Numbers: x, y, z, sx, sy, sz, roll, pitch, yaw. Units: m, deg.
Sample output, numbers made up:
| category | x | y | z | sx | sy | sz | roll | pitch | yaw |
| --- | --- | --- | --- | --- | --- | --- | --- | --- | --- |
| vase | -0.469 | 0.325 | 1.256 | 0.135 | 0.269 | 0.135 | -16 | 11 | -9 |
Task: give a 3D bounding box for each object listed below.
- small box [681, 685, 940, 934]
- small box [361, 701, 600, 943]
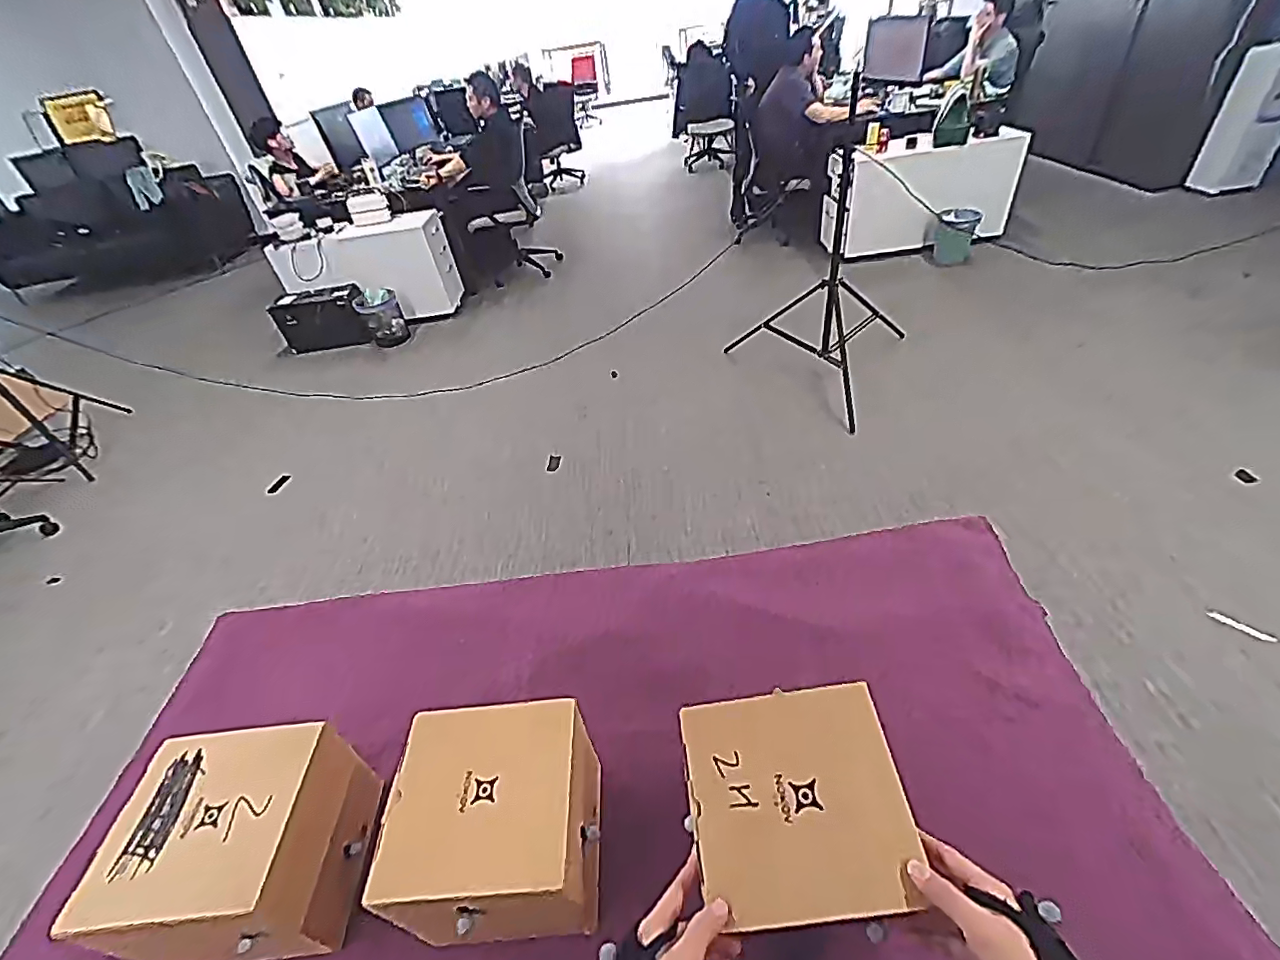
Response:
| category | x | y | z | sx | sy | sz | roll | pitch | yaw |
| --- | --- | --- | --- | --- | --- | --- | --- | --- | --- |
| small box | 0.141 | 0.310 | 0.509 | 0.179 | 0.176 | 0.168 | -10 | 51 | 5 |
| small box | -0.139 | 0.351 | 0.556 | 0.179 | 0.176 | 0.168 | -8 | 40 | 4 |
